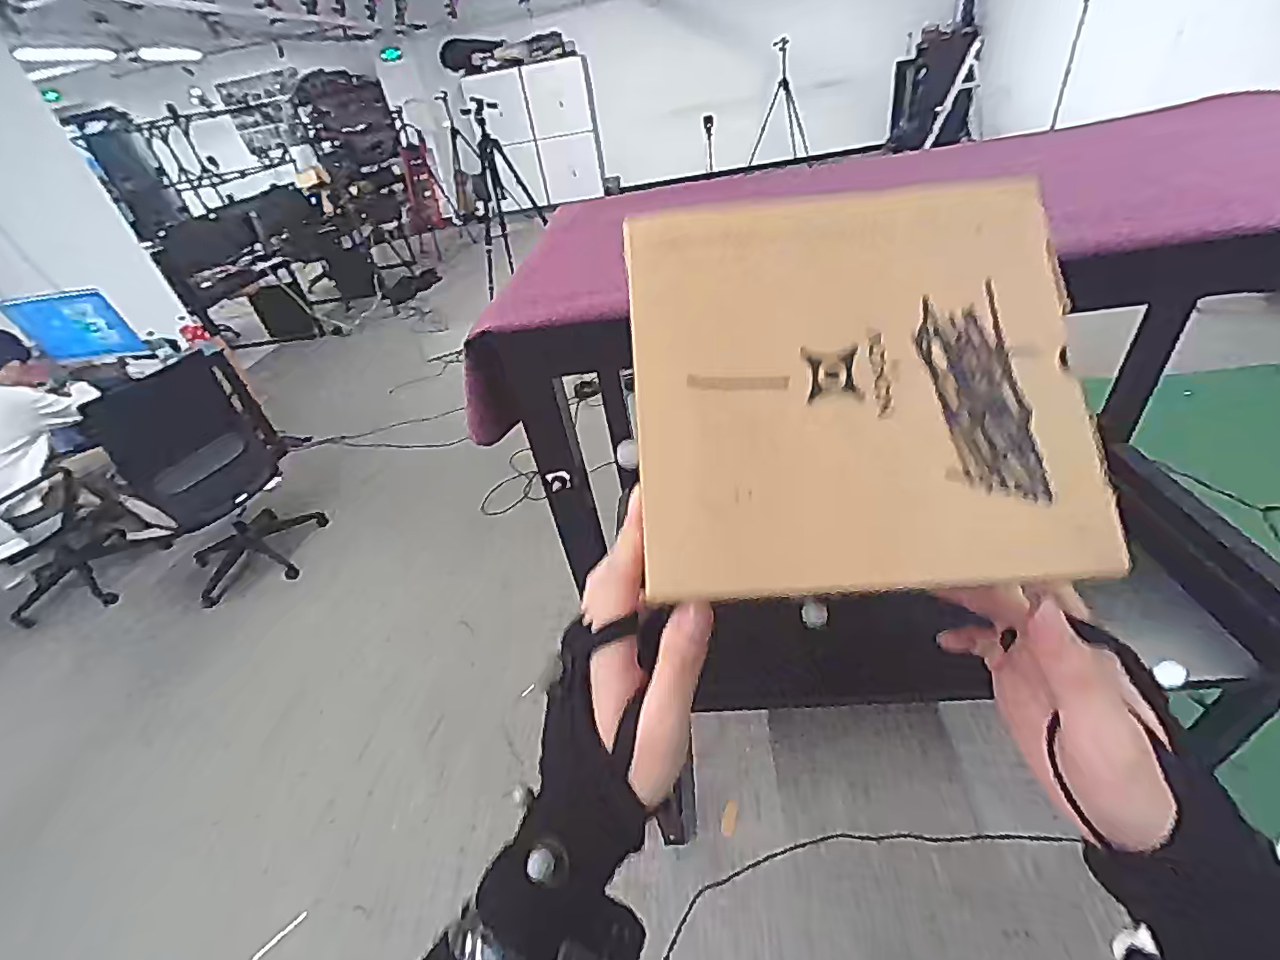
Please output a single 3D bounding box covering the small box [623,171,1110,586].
[{"bbox_3d":[0.085,-0.030,0.293,0.179,0.176,0.168,-3,77,3],"label":"small box"}]
